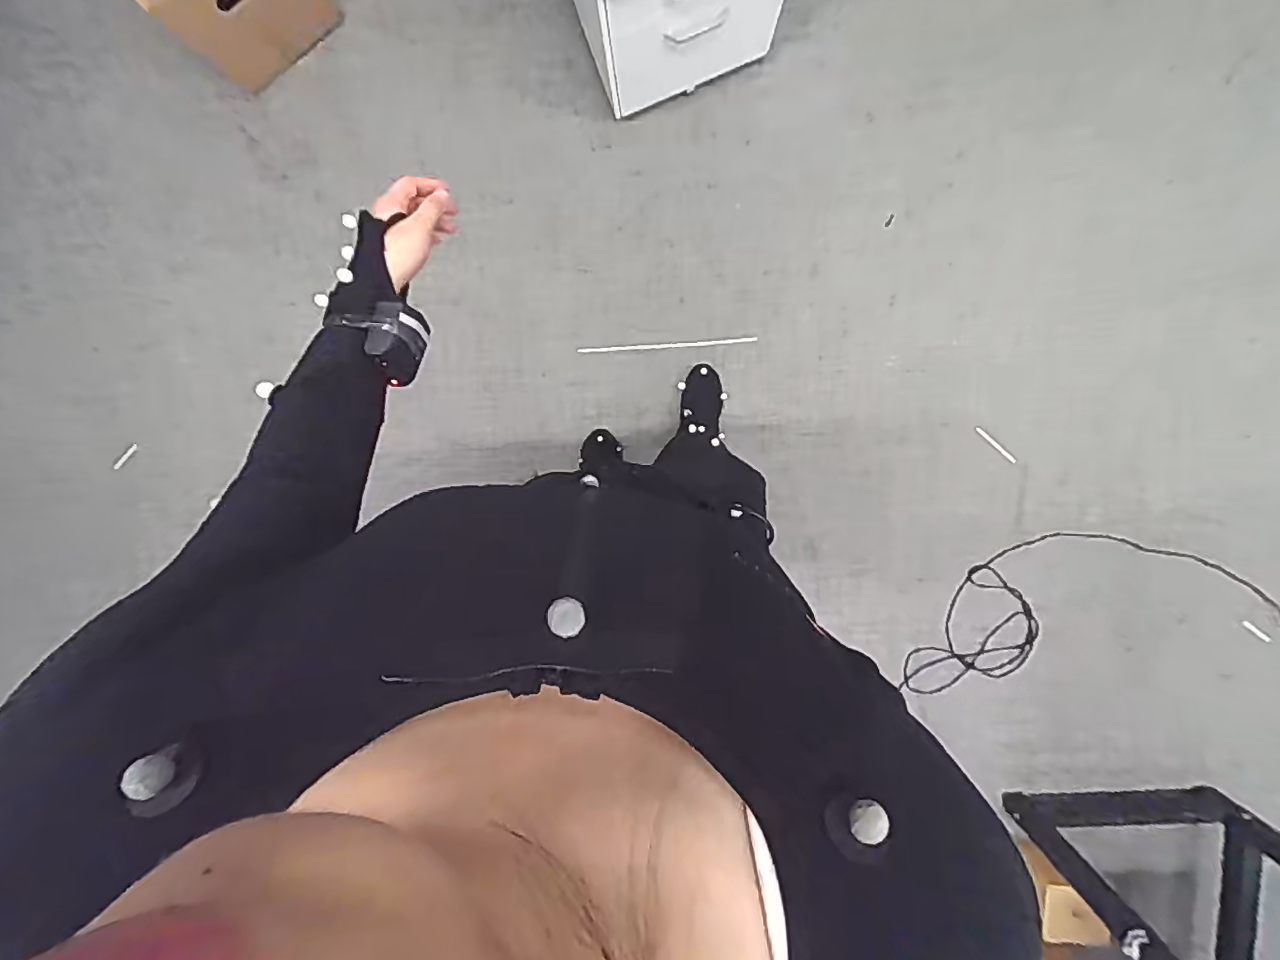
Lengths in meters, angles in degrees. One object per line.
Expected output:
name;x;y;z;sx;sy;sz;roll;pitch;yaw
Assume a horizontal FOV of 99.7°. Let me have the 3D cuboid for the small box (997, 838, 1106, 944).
small box;1.130;1.129;1.498;0.179;0.176;0.168;1;96;1
